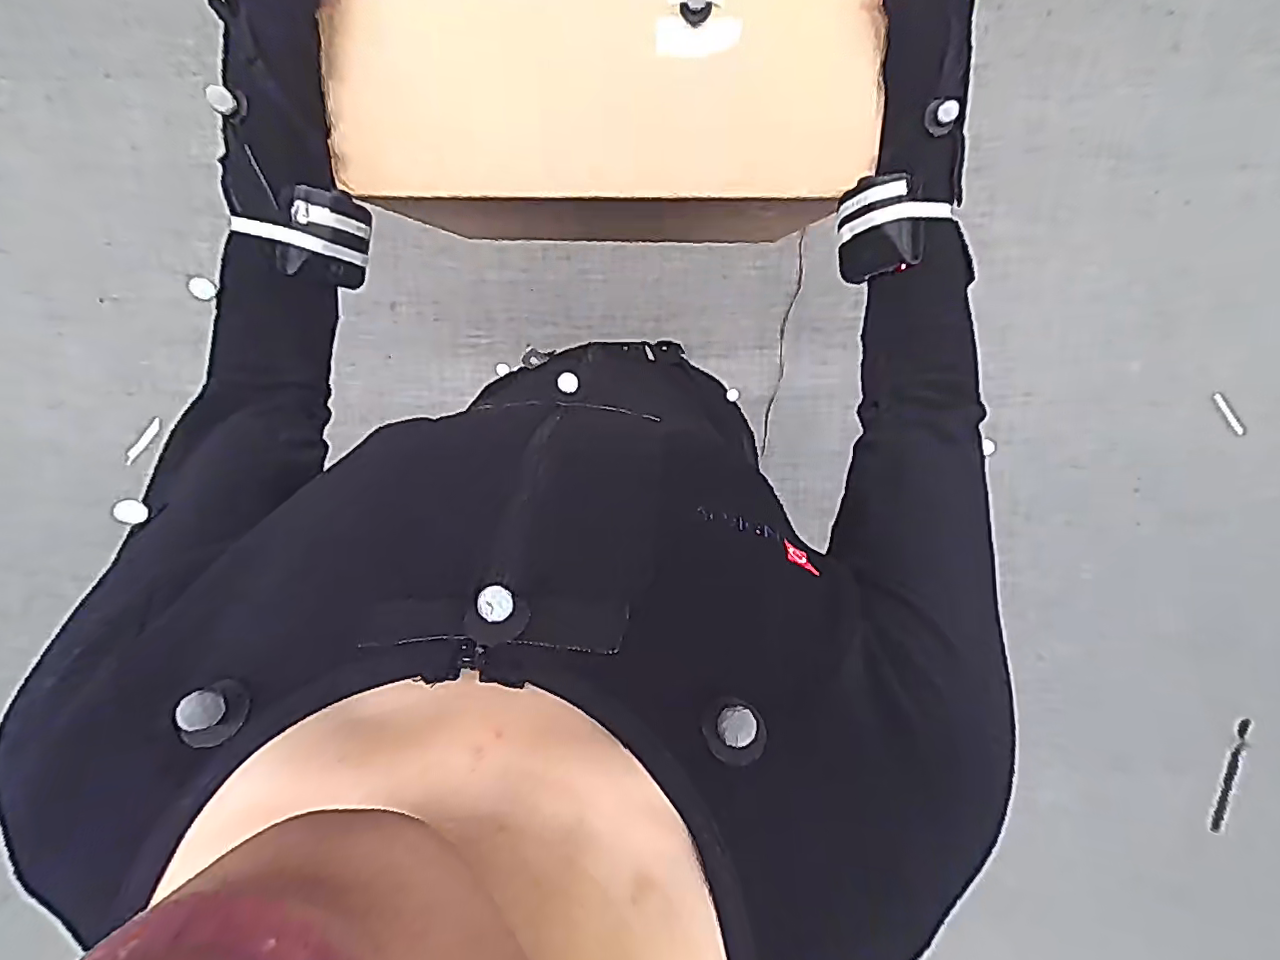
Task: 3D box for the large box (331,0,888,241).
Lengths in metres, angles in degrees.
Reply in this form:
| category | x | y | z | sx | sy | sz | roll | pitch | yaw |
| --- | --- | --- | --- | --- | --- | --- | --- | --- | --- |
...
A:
| category | x | y | z | sx | sy | sz | roll | pitch | yaw |
| --- | --- | --- | --- | --- | --- | --- | --- | --- | --- |
| large box | -0.022 | -0.418 | 0.516 | 0.408 | 0.320 | 0.320 | 0 | 108 | 0 |
